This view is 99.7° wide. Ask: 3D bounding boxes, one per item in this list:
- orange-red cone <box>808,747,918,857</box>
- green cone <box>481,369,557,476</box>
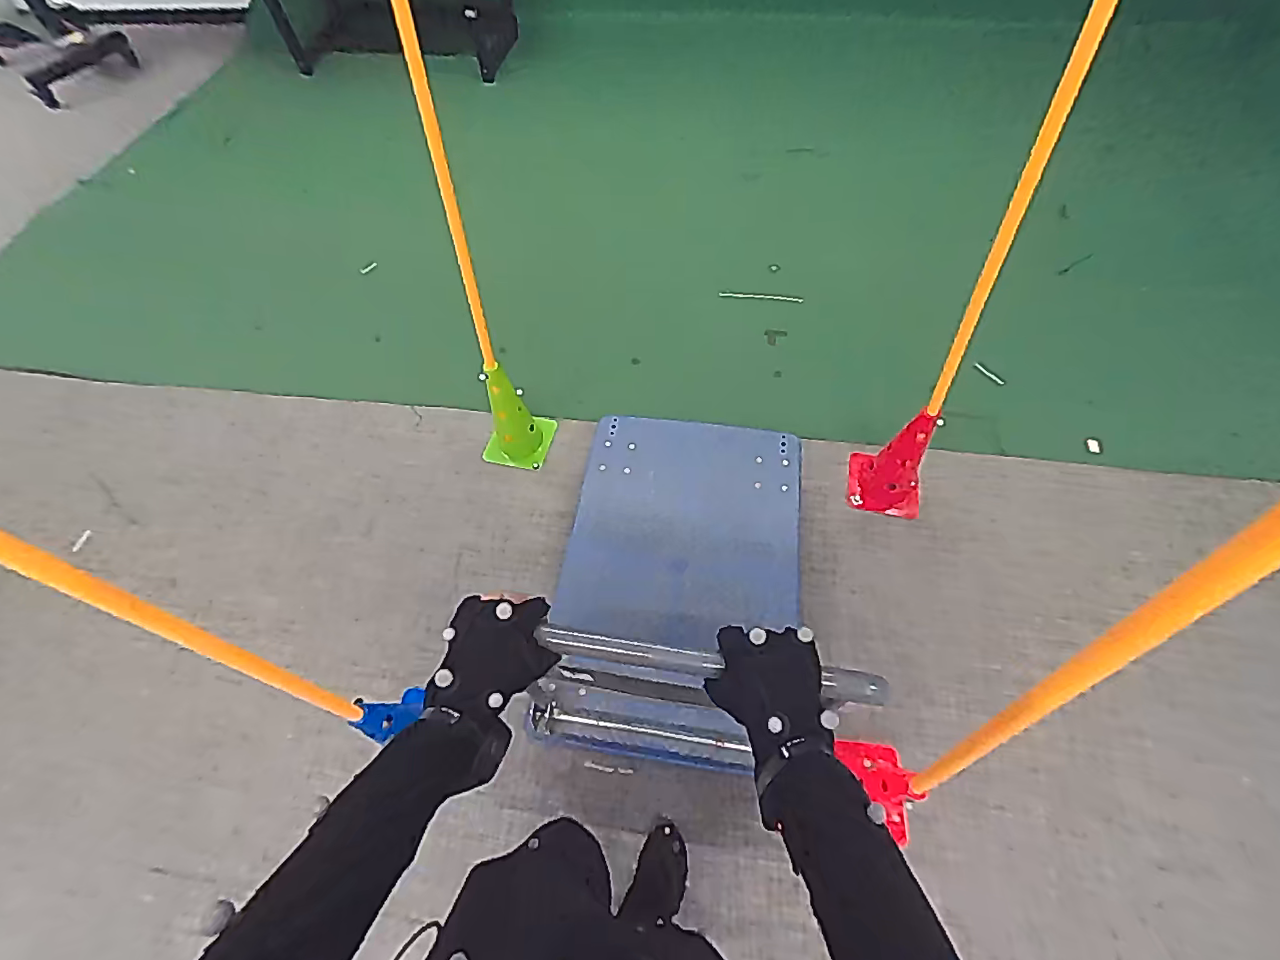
[{"bbox_3d":[0.469,0.630,1.077,0.199,0.360,0.198,5,58,8],"label":"orange-red cone"},{"bbox_3d":[-0.399,-0.197,1.627,0.202,0.368,0.200,9,59,10],"label":"green cone"}]
